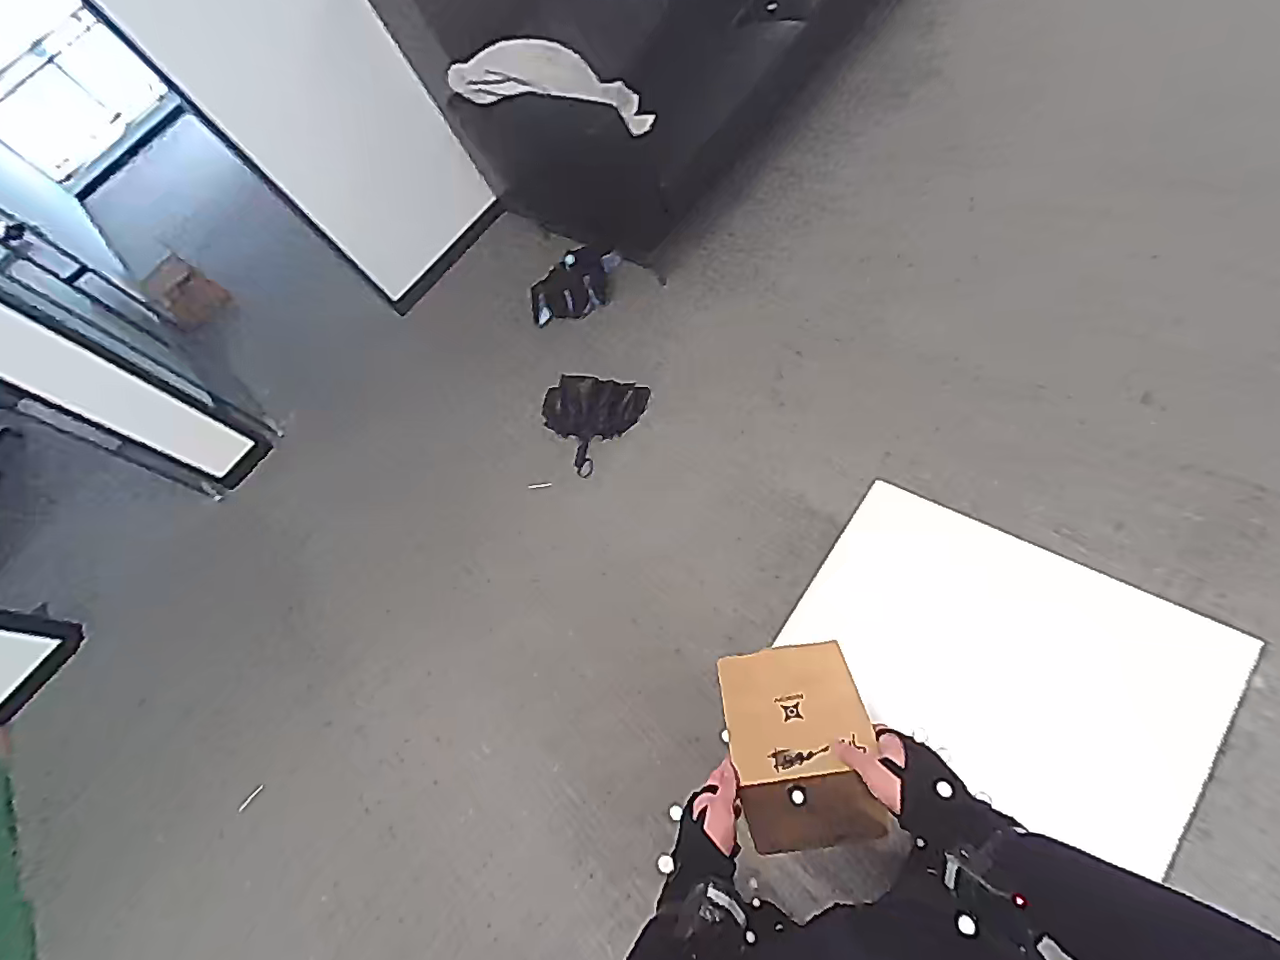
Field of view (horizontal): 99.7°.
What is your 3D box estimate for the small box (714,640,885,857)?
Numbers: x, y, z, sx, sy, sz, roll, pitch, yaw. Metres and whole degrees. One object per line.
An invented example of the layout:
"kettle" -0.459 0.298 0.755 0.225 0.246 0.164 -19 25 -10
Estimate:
"small box" 0.199 0.342 0.697 0.168 0.176 0.179 -14 30 7
